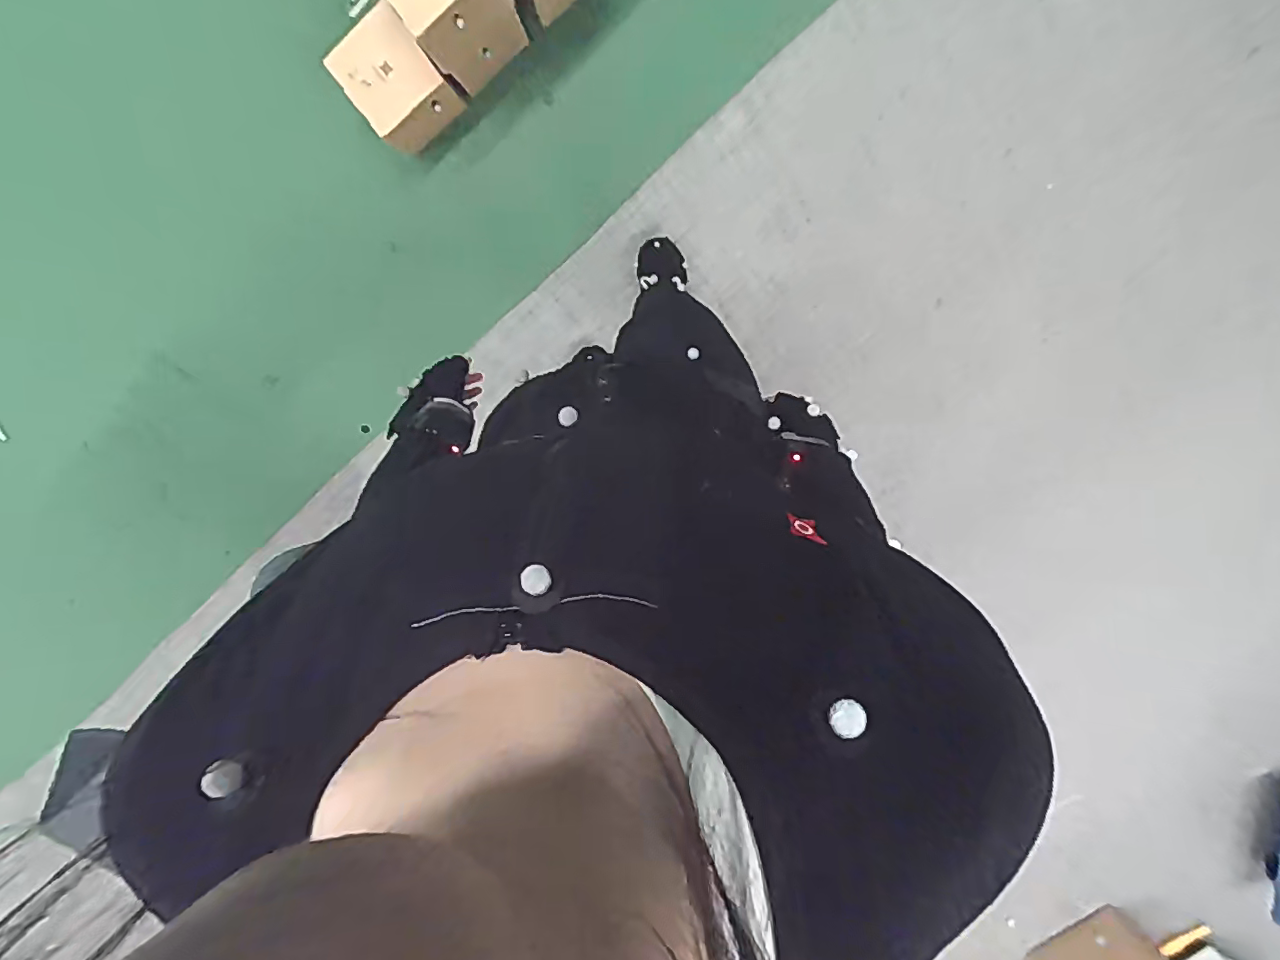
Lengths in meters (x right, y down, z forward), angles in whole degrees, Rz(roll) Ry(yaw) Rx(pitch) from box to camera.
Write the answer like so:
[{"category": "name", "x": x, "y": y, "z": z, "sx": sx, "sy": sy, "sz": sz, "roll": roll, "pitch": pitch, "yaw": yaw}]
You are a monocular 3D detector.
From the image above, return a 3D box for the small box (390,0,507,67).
[{"category": "small box", "x": -0.353, "y": -0.884, "z": 0.948, "sx": 0.179, "sy": 0.176, "sz": 0.168, "roll": -33, "pitch": 108, "yaw": 12}]
